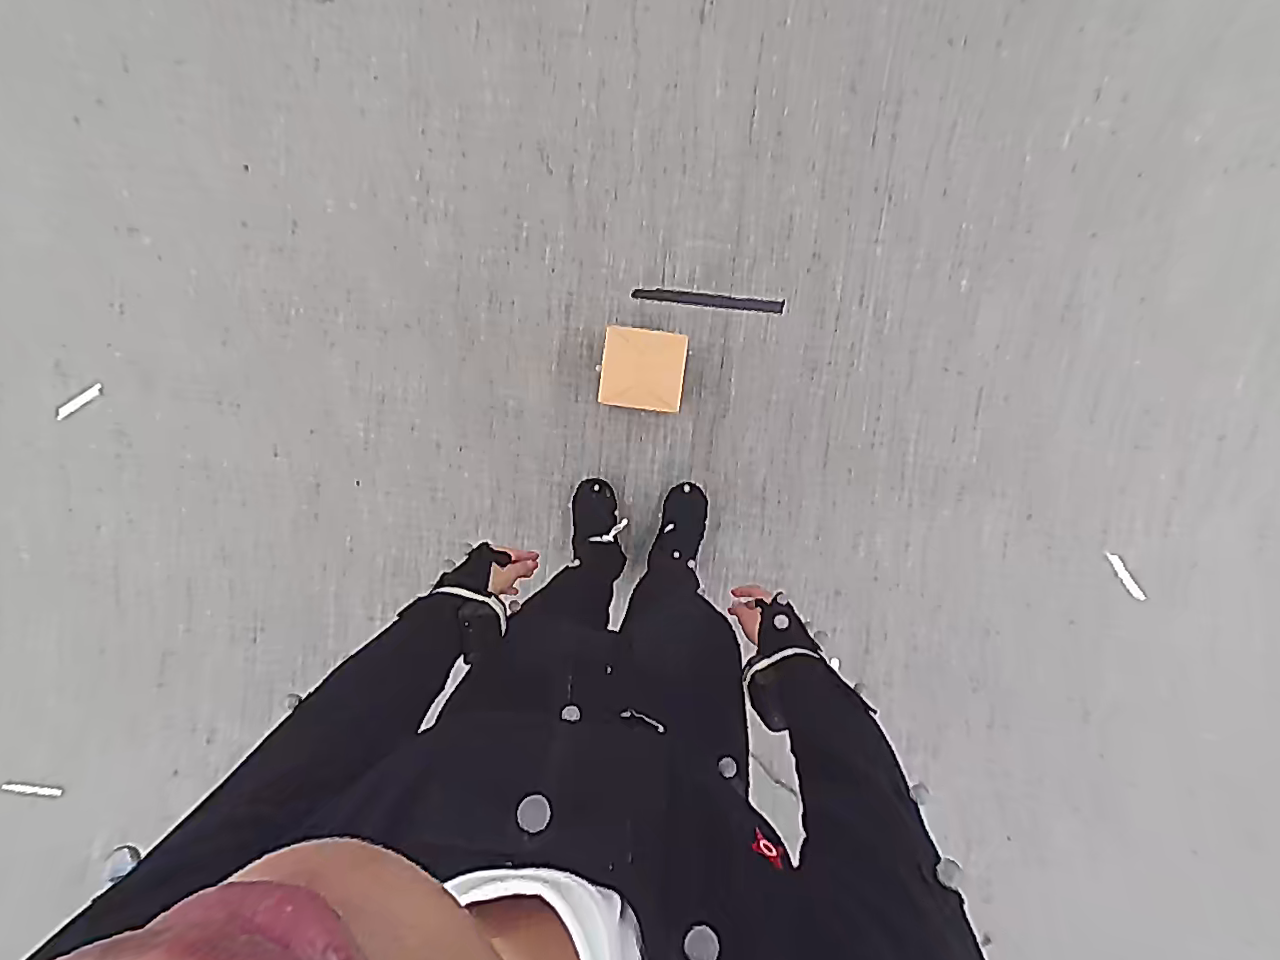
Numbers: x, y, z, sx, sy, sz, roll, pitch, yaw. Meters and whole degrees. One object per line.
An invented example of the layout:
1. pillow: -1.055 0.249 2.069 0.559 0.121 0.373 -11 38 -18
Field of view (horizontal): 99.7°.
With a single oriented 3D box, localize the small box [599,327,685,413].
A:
1. small box: 0.006 -0.242 1.222 0.179 0.176 0.168 7 96 -2
